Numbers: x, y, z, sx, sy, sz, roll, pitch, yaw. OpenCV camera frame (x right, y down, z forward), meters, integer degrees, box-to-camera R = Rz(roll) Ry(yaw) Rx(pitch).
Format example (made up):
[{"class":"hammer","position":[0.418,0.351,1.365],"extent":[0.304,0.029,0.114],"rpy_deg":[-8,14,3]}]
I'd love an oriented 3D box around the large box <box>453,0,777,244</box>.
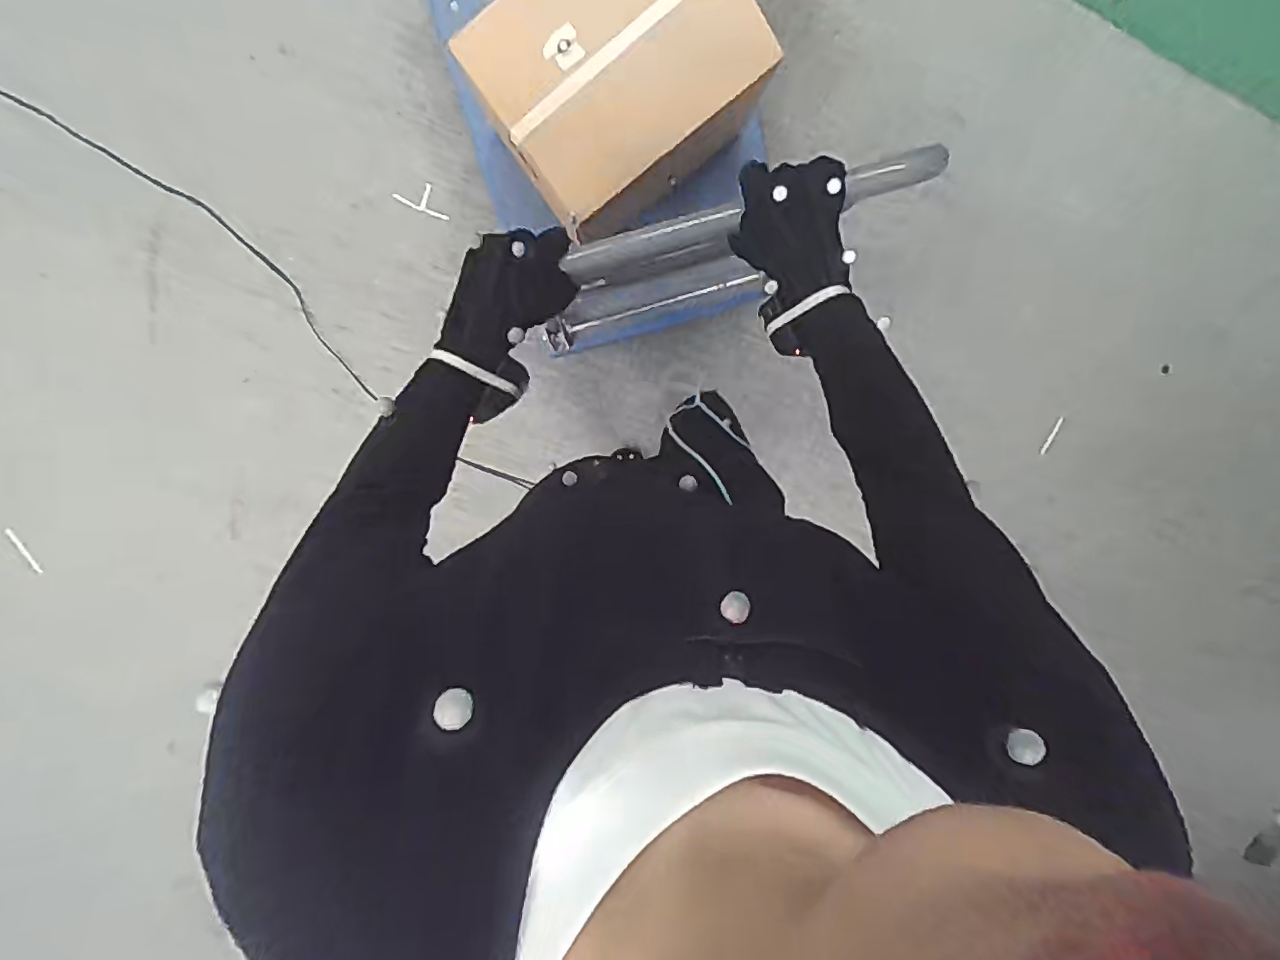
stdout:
[{"class":"large box","position":[-0.040,-0.693,0.955],"extent":[0.408,0.320,0.320],"rpy_deg":[-36,102,7]}]
